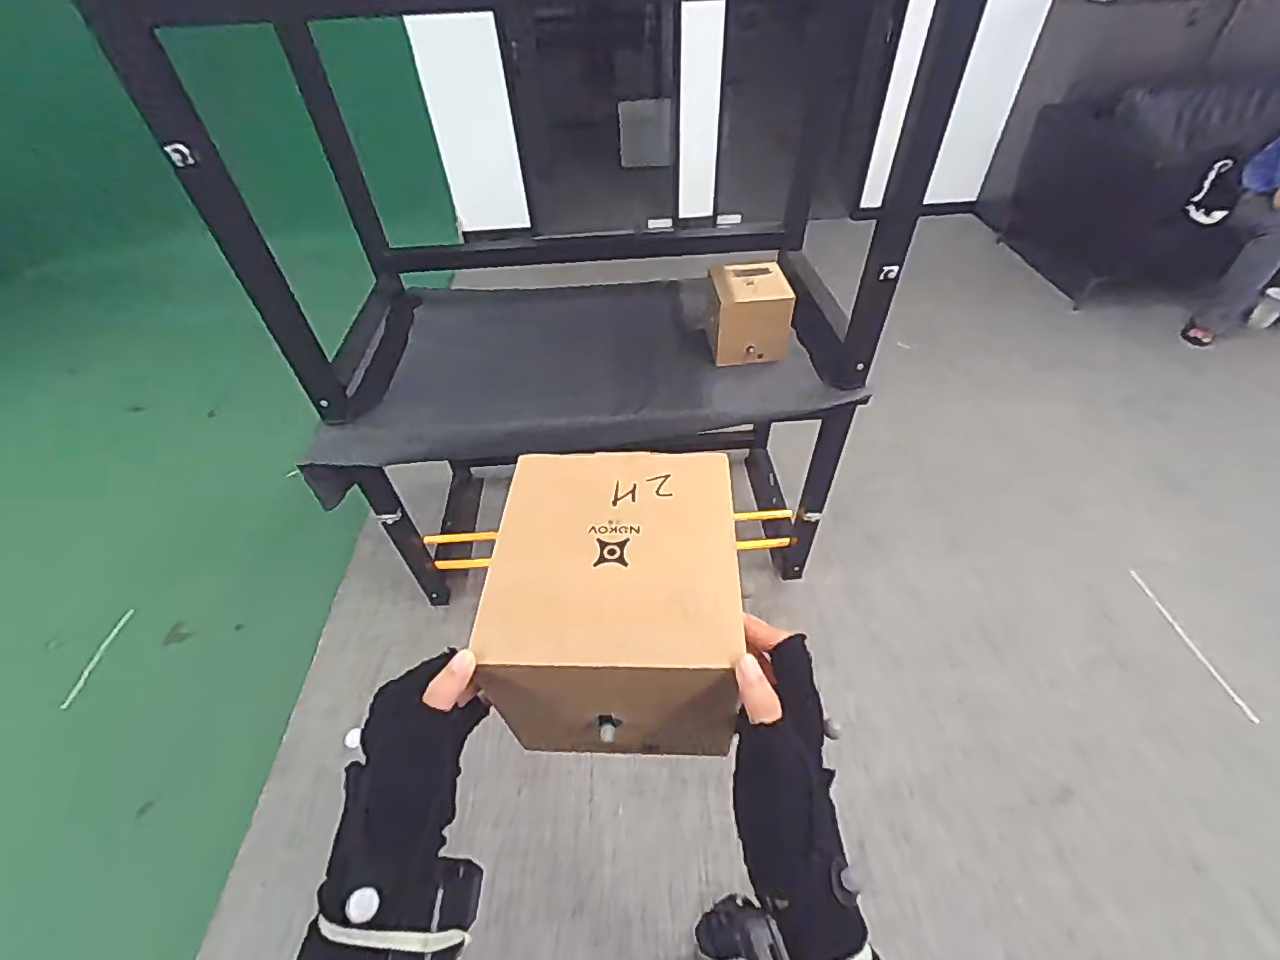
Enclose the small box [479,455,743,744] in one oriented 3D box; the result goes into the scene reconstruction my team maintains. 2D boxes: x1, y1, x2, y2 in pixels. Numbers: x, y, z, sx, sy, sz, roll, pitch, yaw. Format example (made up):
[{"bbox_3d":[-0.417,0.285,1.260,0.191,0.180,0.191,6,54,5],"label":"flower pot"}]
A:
[{"bbox_3d":[-0.011,0.099,0.438,0.168,0.176,0.179,0,47,3],"label":"small box"}]
